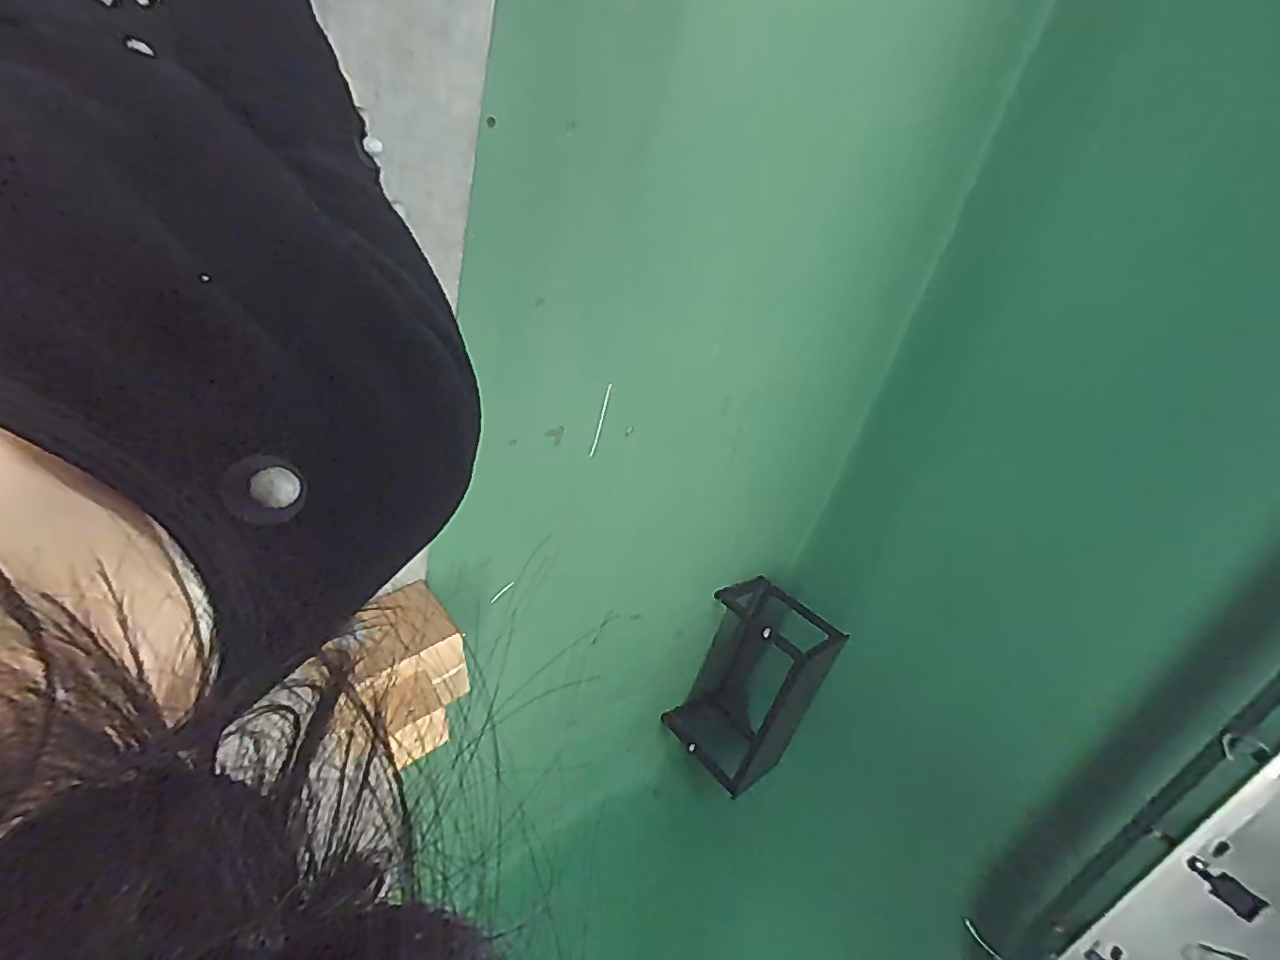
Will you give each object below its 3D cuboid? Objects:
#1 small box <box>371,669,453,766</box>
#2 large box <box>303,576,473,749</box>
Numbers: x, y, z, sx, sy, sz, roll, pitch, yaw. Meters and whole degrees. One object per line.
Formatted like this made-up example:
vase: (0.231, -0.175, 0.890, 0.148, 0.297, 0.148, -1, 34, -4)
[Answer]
small box: (-0.695, 0.716, 1.652, 0.179, 0.176, 0.168, -19, 129, -37)
large box: (-0.833, 0.593, 1.817, 0.408, 0.320, 0.320, -23, 134, -36)
